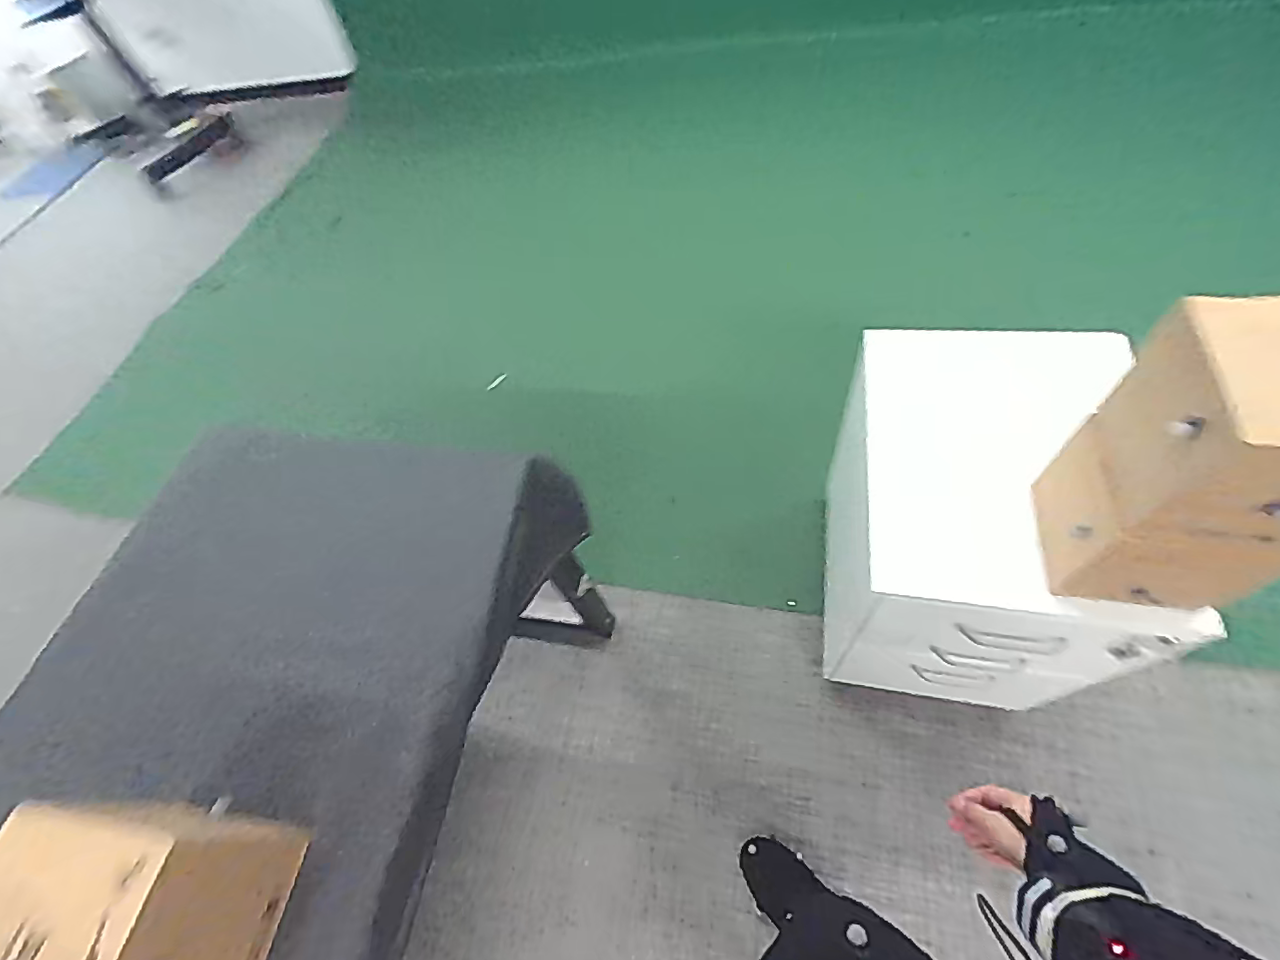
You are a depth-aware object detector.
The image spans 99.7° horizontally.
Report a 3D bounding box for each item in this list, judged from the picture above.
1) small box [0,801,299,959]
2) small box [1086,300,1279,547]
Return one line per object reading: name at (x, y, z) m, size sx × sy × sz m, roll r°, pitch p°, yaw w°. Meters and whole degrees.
small box at (-0.456, 0.389, 0.472) m, size 0.179 × 0.176 × 0.168 m, roll 1°, pitch 59°, yaw 12°
small box at (0.582, -0.050, 0.525) m, size 0.168 × 0.176 × 0.179 m, roll 6°, pitch 59°, yaw 14°
